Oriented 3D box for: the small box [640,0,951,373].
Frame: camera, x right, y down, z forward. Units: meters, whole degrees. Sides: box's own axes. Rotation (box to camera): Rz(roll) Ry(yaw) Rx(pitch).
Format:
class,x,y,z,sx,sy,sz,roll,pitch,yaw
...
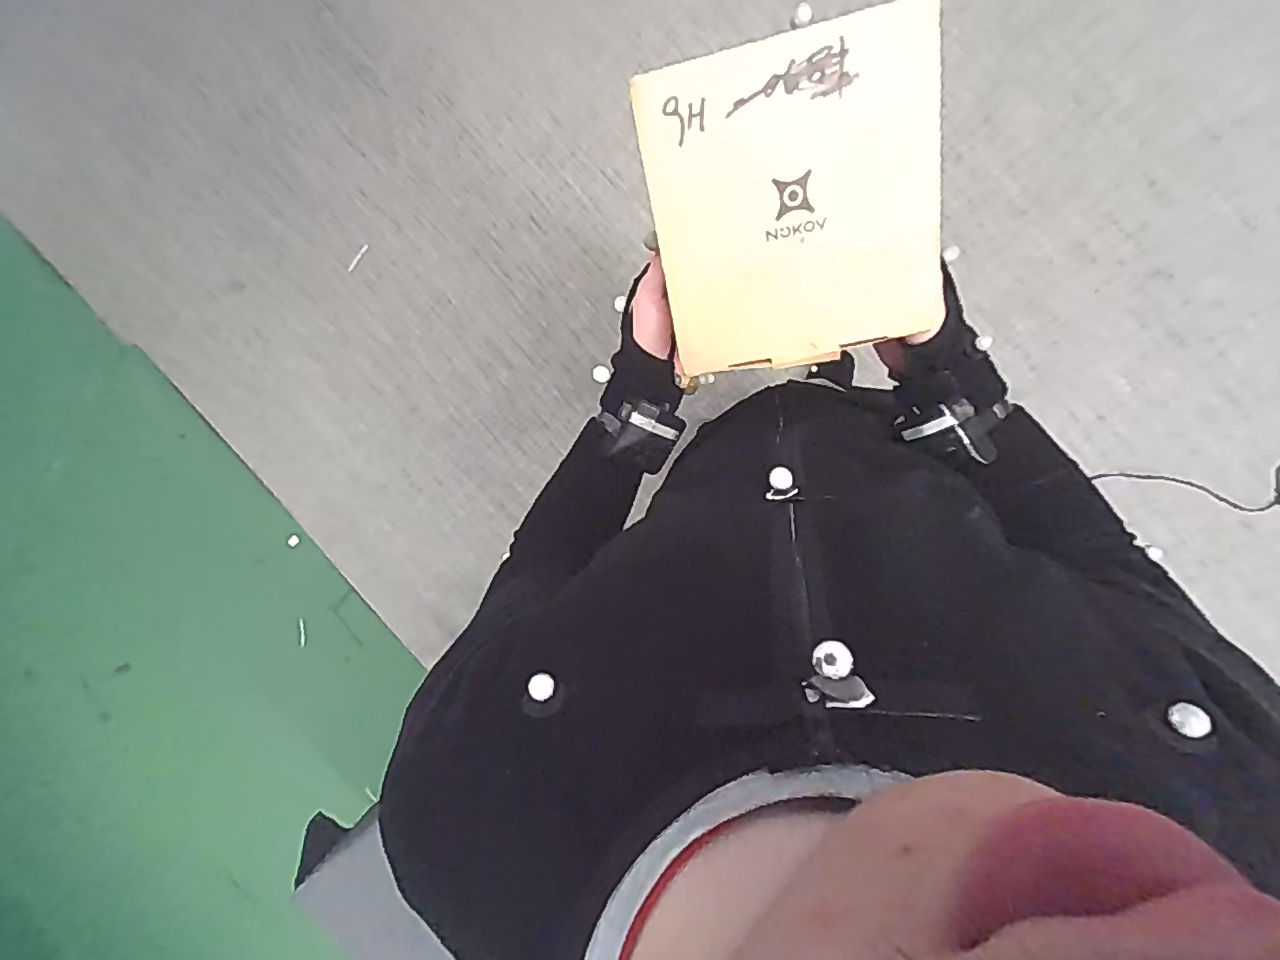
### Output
class,x,y,z,sx,sy,sz,roll,pitch,yaw
small box,0.102,-0.196,0.395,0.168,0.176,0.179,-9,115,9
